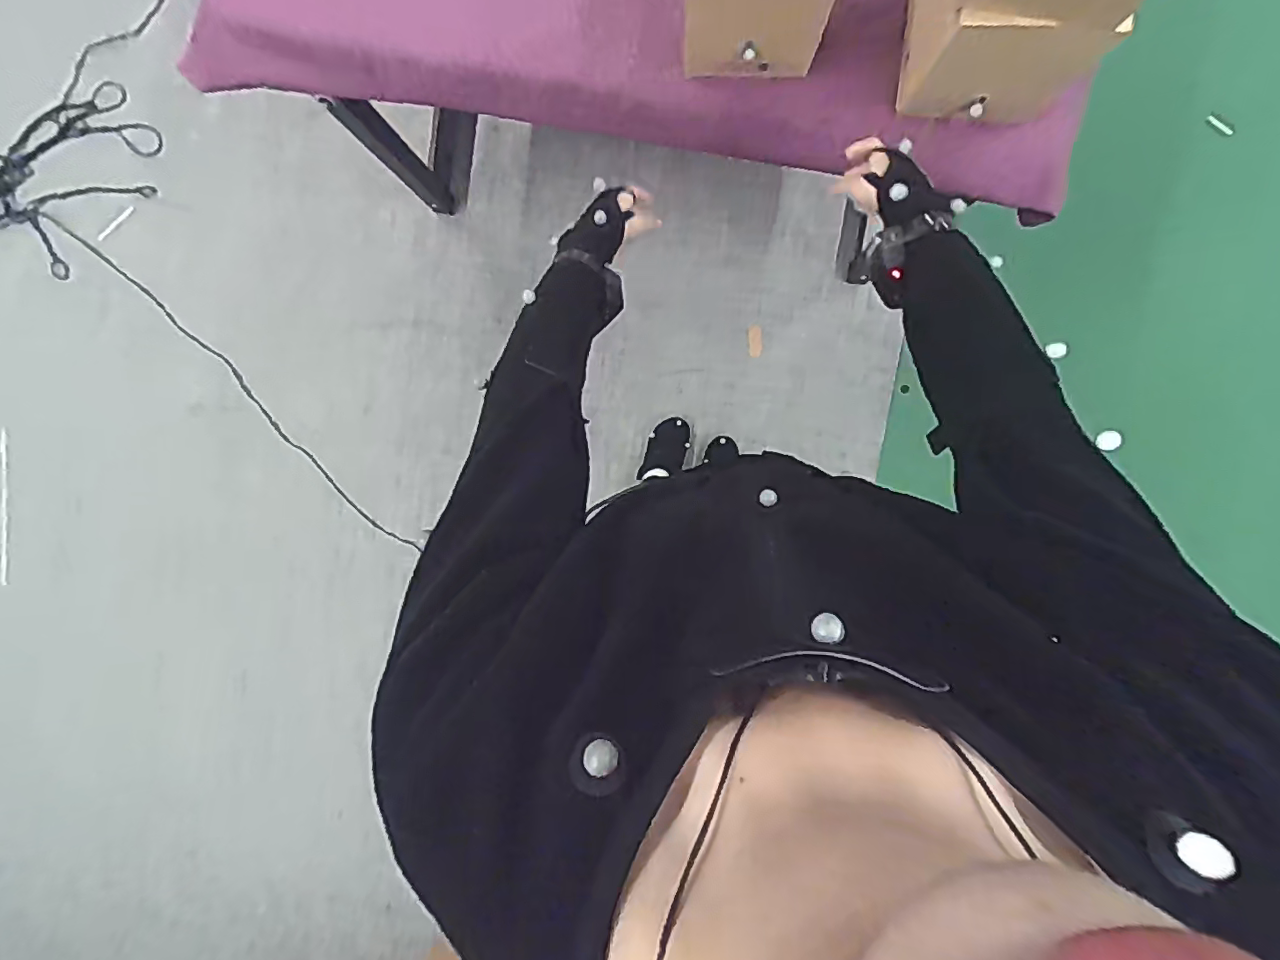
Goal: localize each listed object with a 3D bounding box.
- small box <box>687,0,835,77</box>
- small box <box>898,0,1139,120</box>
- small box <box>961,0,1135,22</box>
[{"bbox_3d":[0.144,-0.625,0.639,0.168,0.176,0.179,3,94,3],"label":"small box"},{"bbox_3d":[0.433,-0.552,0.629,0.179,0.176,0.168,6,95,3],"label":"small box"},{"bbox_3d":[0.413,-0.548,0.466,0.179,0.176,0.168,12,95,3],"label":"small box"}]
